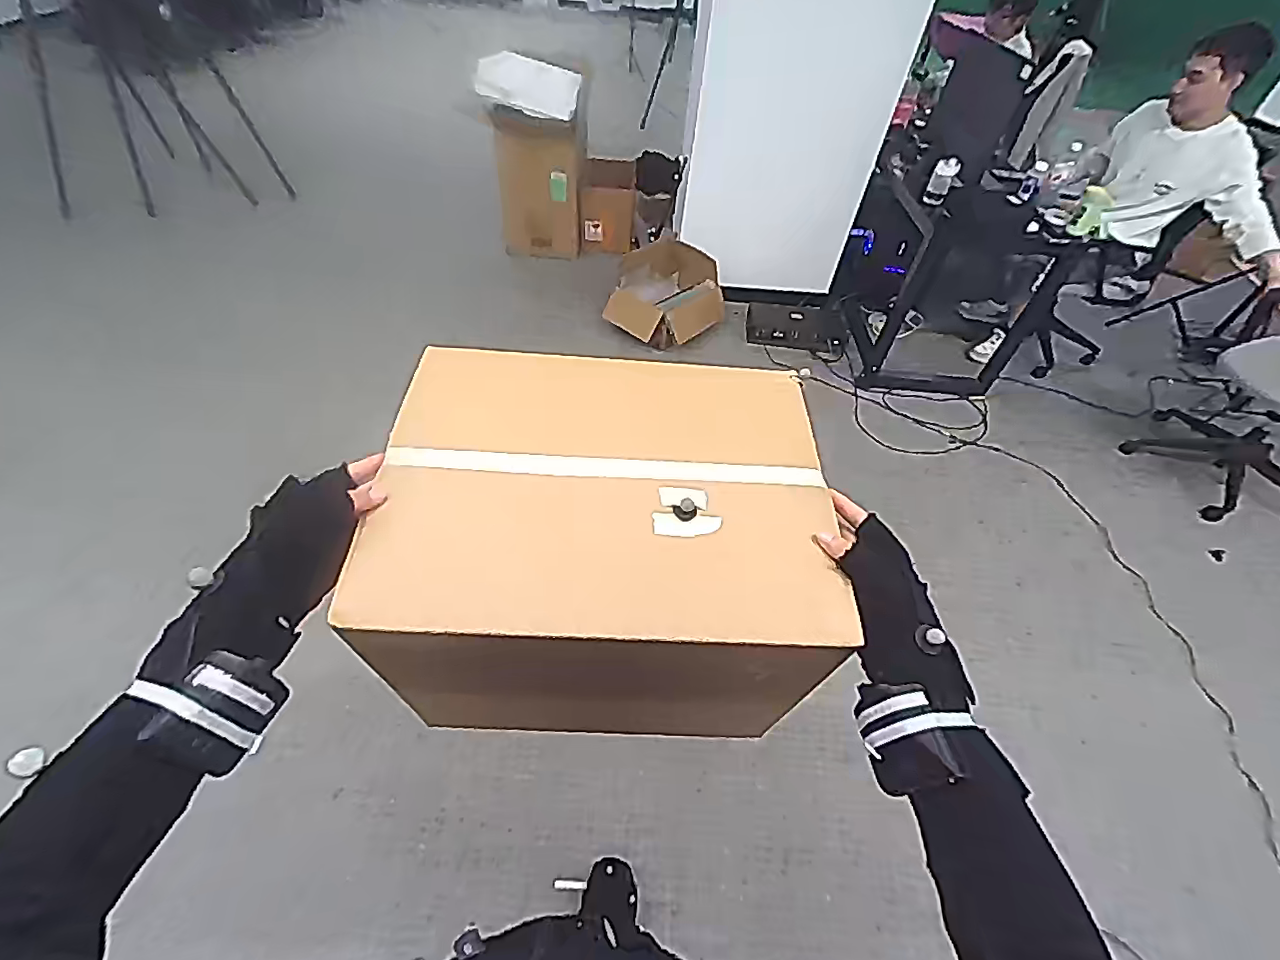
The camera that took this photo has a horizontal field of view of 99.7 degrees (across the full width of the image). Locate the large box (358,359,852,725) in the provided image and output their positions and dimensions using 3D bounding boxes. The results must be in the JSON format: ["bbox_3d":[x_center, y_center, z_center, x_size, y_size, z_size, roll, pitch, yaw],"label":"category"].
[{"bbox_3d":[-0.037,0.087,0.635,0.408,0.320,0.320,4,53,-4],"label":"large box"}]
